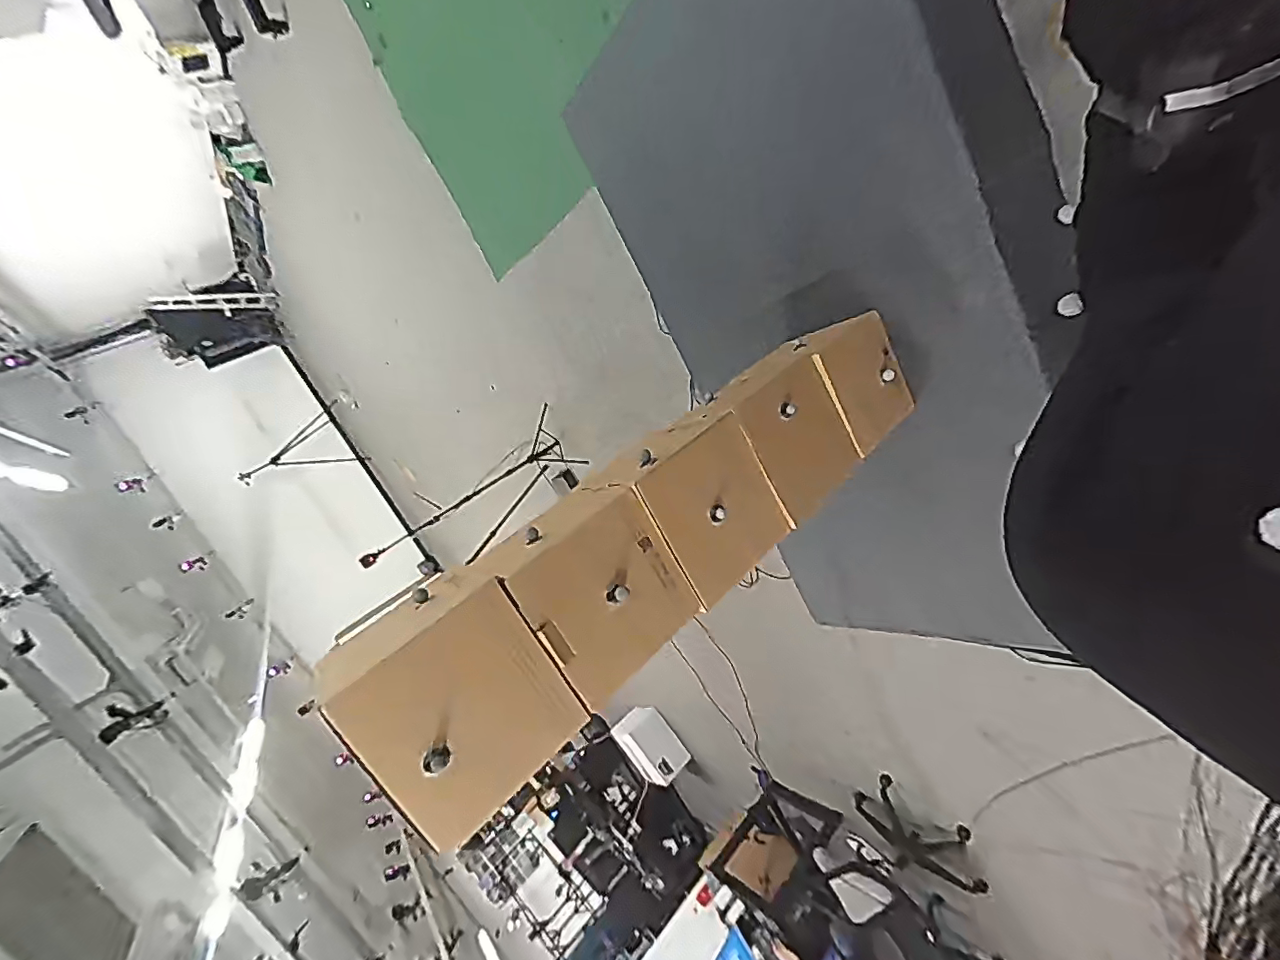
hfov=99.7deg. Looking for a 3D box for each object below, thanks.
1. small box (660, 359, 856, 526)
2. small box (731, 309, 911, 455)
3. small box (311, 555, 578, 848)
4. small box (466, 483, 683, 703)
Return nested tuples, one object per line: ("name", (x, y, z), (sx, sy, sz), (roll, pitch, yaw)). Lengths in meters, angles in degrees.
("small box", (0.167, -0.054, 0.762), (0.168, 0.176, 0.179), (-11, 111, 59))
("small box", (0.281, -0.140, 0.840), (0.179, 0.176, 0.168), (-8, 114, 56))
("small box", (-0.190, 0.197, 0.534), (0.168, 0.176, 0.179), (-8, 114, 58))
("small box", (-0.073, 0.115, 0.619), (0.179, 0.176, 0.168), (-10, 112, 58))
